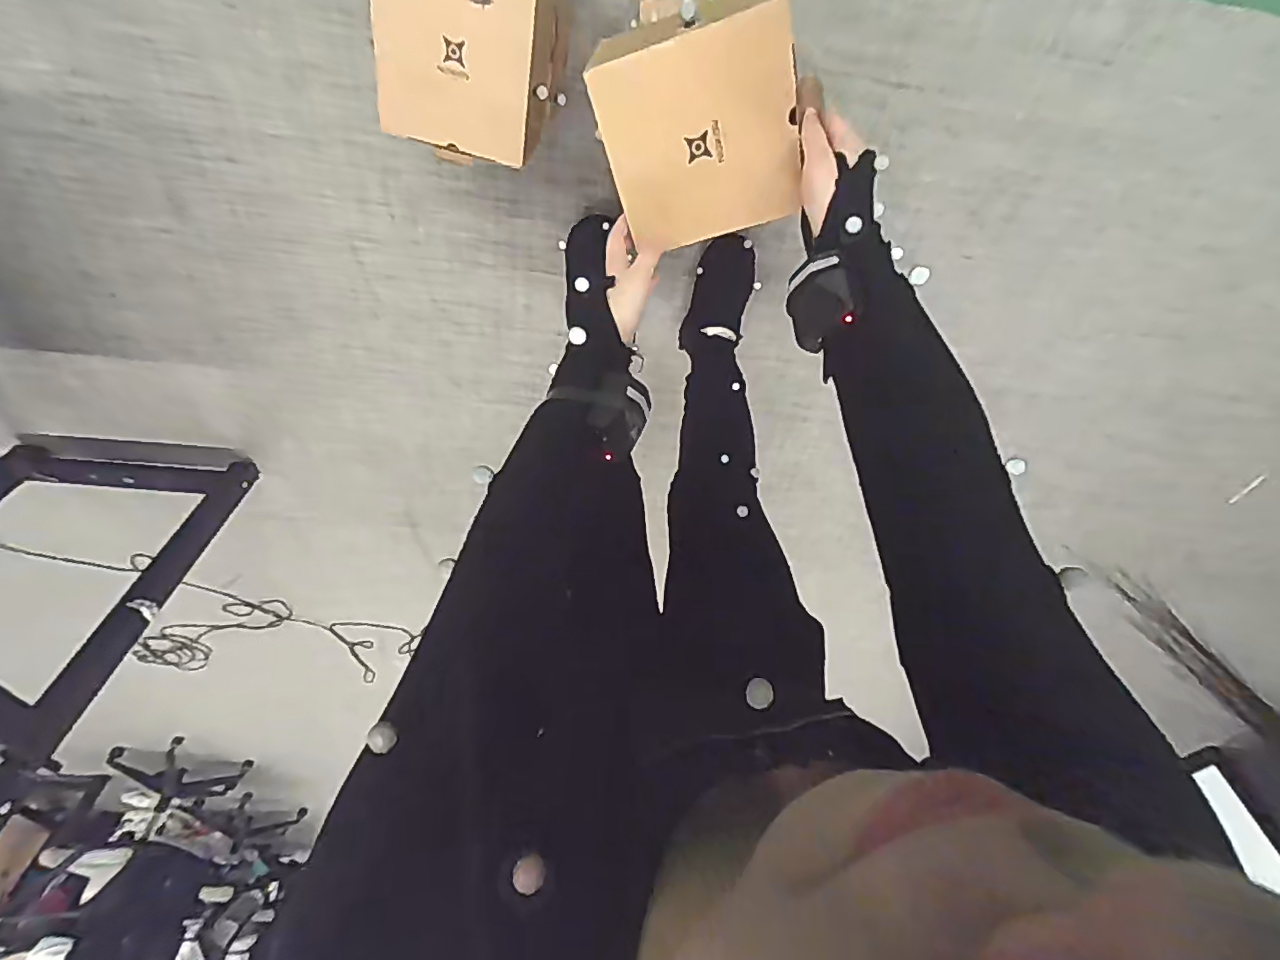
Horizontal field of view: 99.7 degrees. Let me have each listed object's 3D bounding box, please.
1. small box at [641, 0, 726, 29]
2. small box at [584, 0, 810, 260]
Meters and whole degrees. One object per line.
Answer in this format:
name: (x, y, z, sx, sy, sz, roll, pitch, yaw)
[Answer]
small box: (0.090, -0.577, 0.772, 0.179, 0.176, 0.168, 0, 134, 0)
small box: (0.060, -0.351, 0.539, 0.179, 0.176, 0.168, -12, 133, 12)
